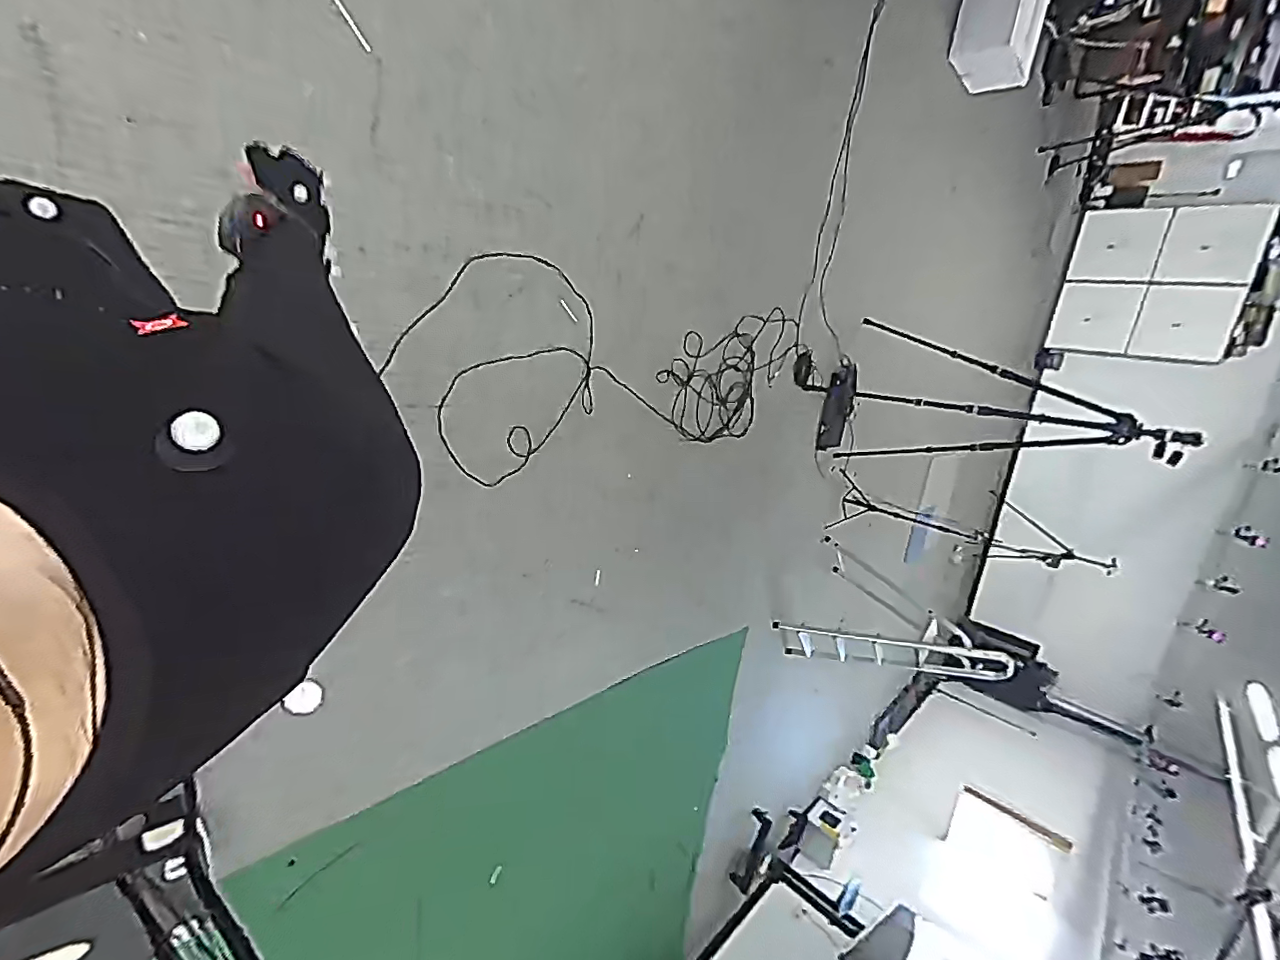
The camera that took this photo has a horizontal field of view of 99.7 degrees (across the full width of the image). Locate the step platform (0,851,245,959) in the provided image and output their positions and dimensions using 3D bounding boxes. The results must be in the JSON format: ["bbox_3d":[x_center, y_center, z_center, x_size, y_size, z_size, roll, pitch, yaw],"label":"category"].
[{"bbox_3d":[-1.178,1.037,1.013,0.684,0.204,0.286,-8,111,-47],"label":"step platform"}]
